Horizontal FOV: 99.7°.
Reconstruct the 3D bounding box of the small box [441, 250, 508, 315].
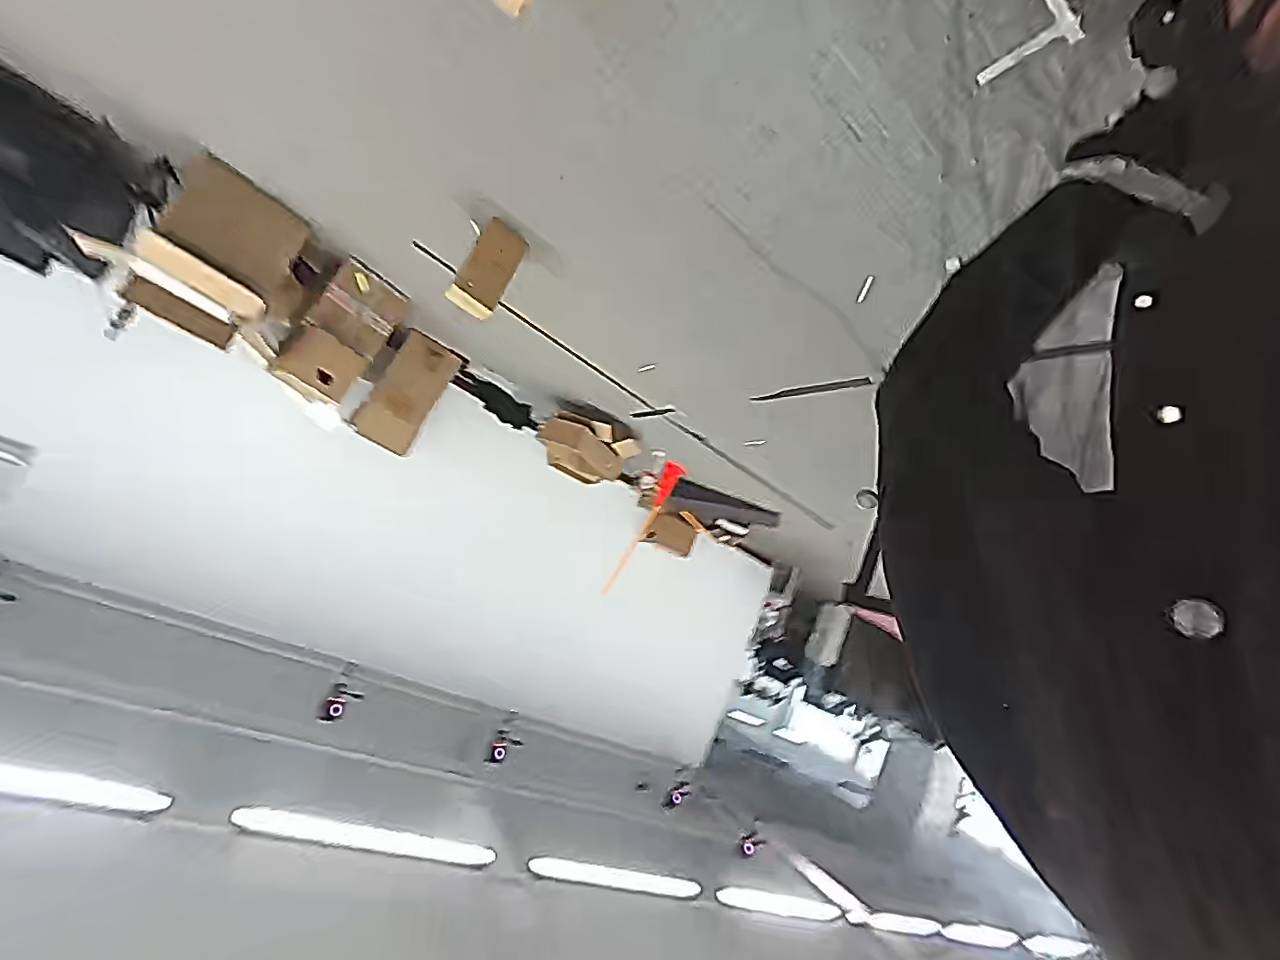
[{"bbox_3d":[-0.664,-0.798,2.174,0.179,0.176,0.168,32,167,-31],"label":"small box"}]
